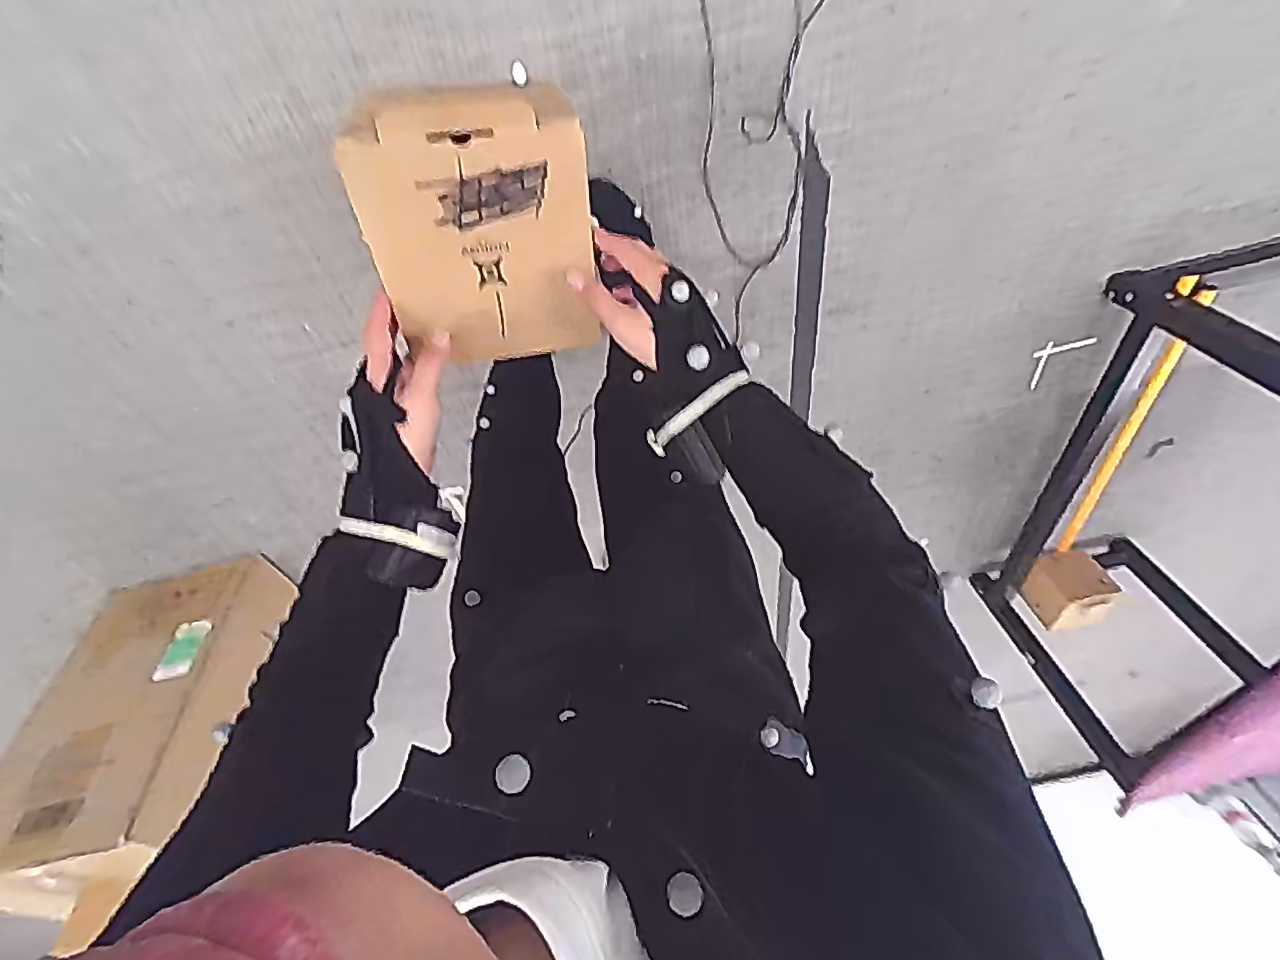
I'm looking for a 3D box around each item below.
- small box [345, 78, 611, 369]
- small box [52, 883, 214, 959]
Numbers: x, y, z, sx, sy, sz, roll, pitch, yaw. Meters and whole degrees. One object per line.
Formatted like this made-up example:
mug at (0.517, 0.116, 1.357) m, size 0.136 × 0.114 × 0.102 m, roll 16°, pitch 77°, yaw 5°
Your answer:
small box at (-0.123, -0.222, 0.458) m, size 0.168 × 0.176 × 0.179 m, roll -10°, pitch 137°, yaw -8°
small box at (-0.932, 0.866, 0.992) m, size 0.179 × 0.176 × 0.168 m, roll -12°, pitch 135°, yaw 0°
